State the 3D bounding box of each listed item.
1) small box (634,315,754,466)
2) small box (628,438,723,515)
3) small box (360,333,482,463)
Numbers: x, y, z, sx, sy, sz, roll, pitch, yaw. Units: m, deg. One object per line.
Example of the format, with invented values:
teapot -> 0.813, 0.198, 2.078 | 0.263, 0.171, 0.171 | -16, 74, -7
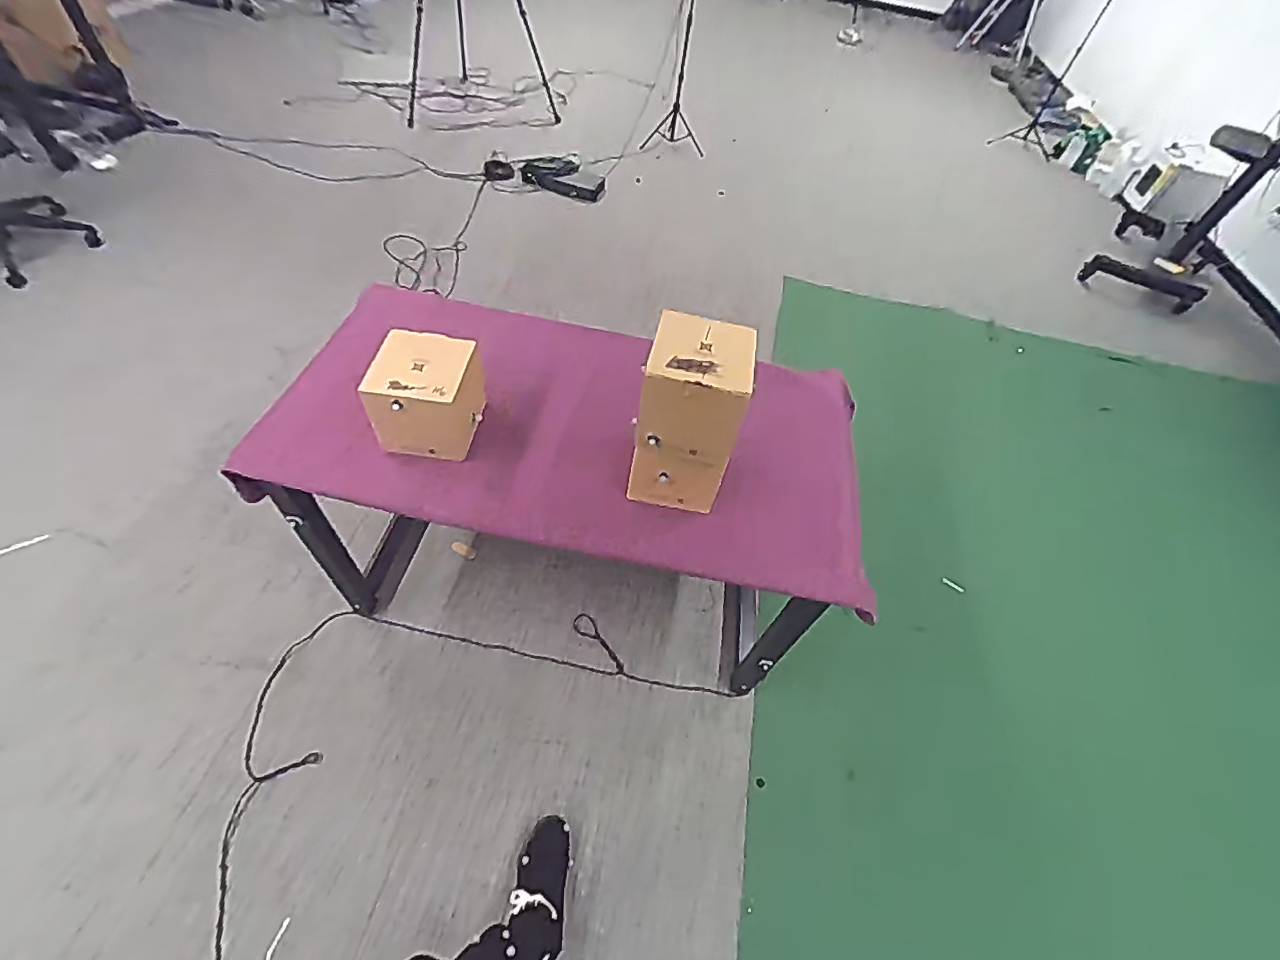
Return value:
small box -> 0.089, -0.149, 0.923 | 0.168, 0.176, 0.179 | 13, 50, 2
small box -> 0.071, -0.054, 1.057 | 0.168, 0.176, 0.179 | 10, 51, 0
small box -> -0.415, -0.159, 1.062 | 0.168, 0.176, 0.179 | 7, 52, -2
